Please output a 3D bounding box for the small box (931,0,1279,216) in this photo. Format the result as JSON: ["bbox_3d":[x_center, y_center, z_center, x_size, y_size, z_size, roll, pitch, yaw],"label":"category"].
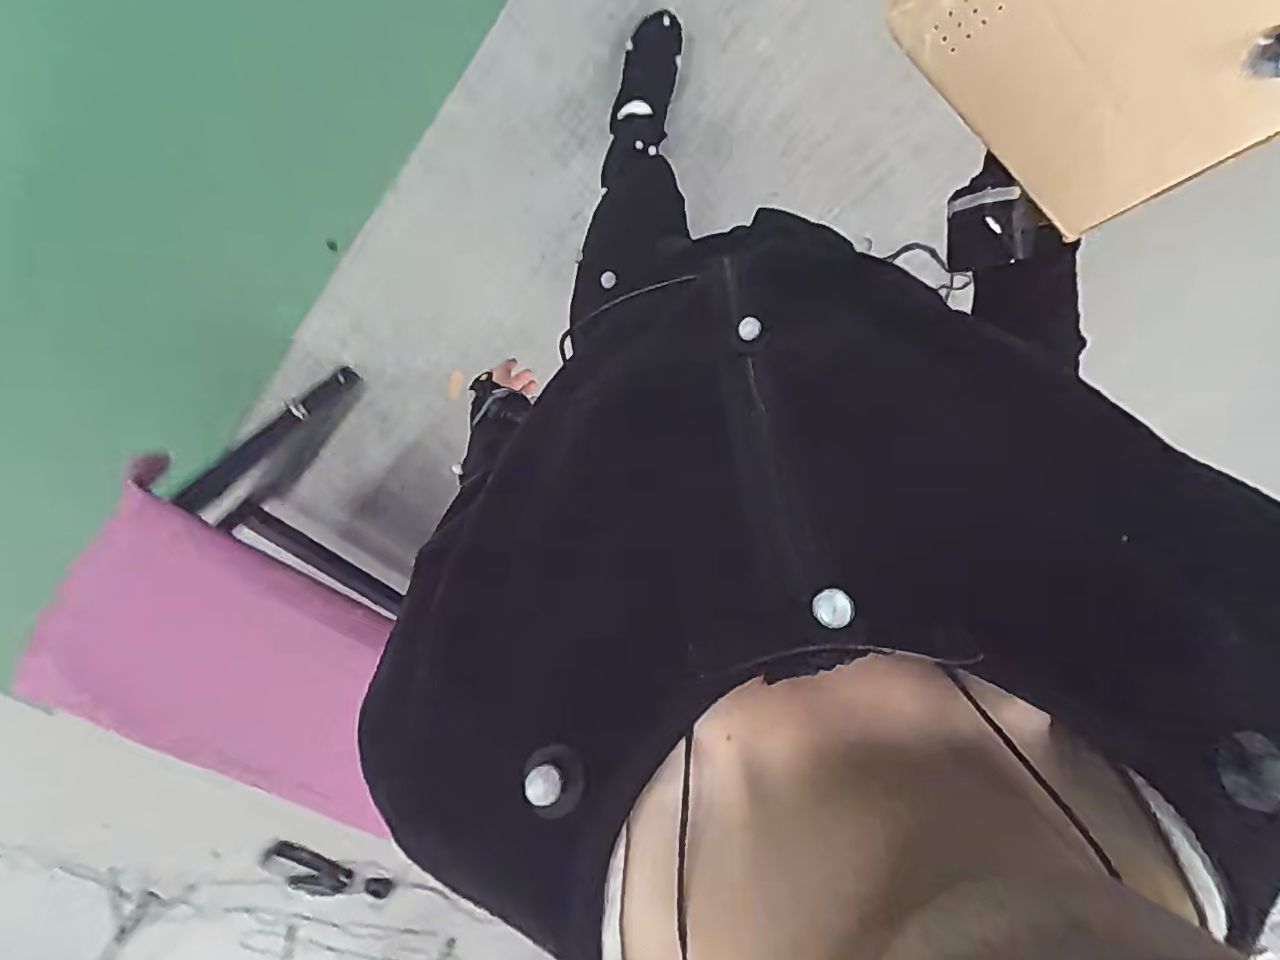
[{"bbox_3d":[0.231,-0.260,0.215,0.176,0.168,0.179,26,154,-26],"label":"small box"}]
